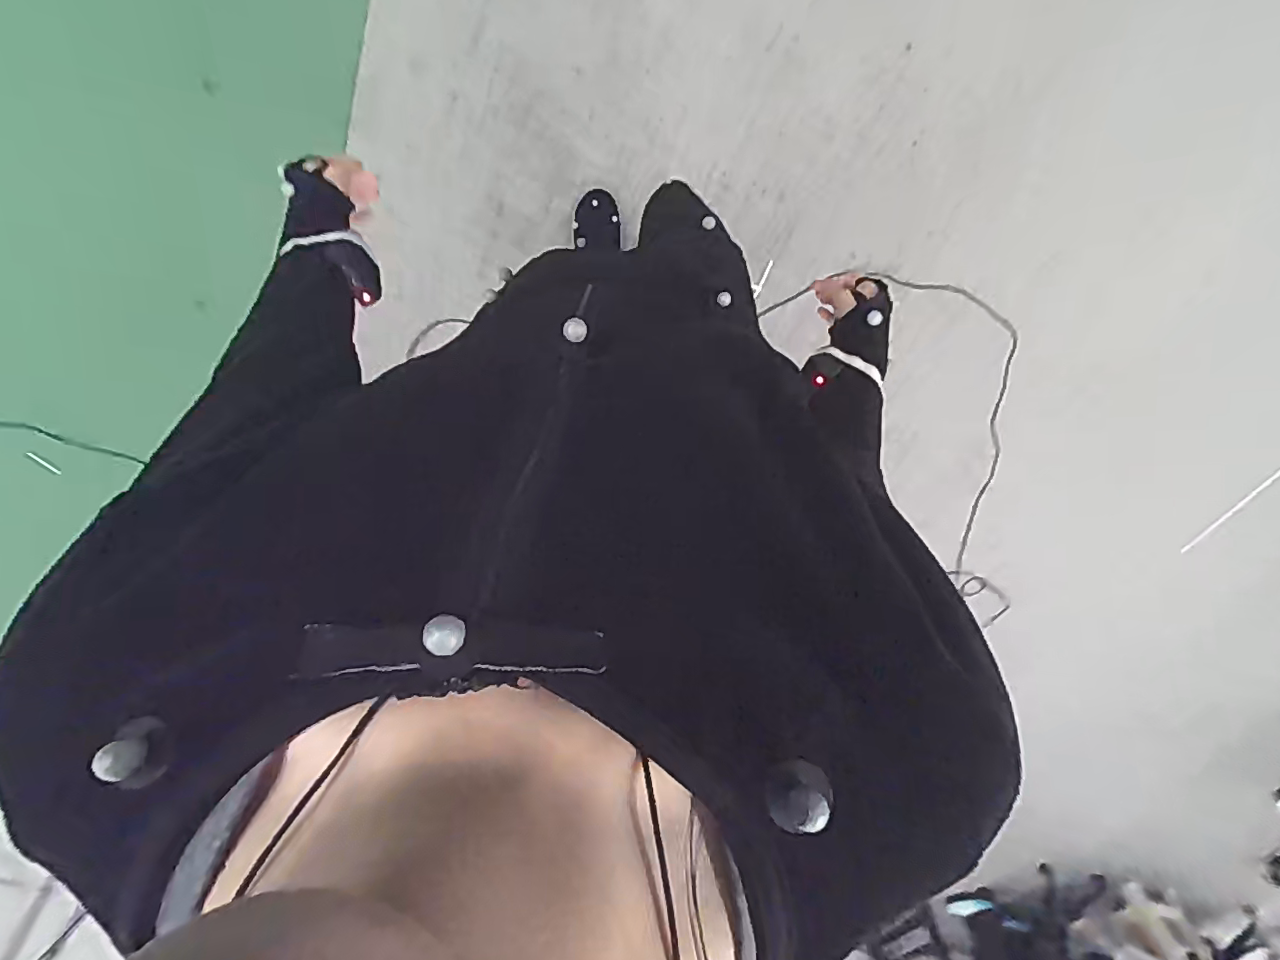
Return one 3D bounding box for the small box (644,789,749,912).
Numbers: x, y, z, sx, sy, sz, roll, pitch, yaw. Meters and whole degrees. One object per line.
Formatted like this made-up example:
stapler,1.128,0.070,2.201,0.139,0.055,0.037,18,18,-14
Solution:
small box,0.119,0.832,1.224,0.179,0.176,0.168,22,120,-14
